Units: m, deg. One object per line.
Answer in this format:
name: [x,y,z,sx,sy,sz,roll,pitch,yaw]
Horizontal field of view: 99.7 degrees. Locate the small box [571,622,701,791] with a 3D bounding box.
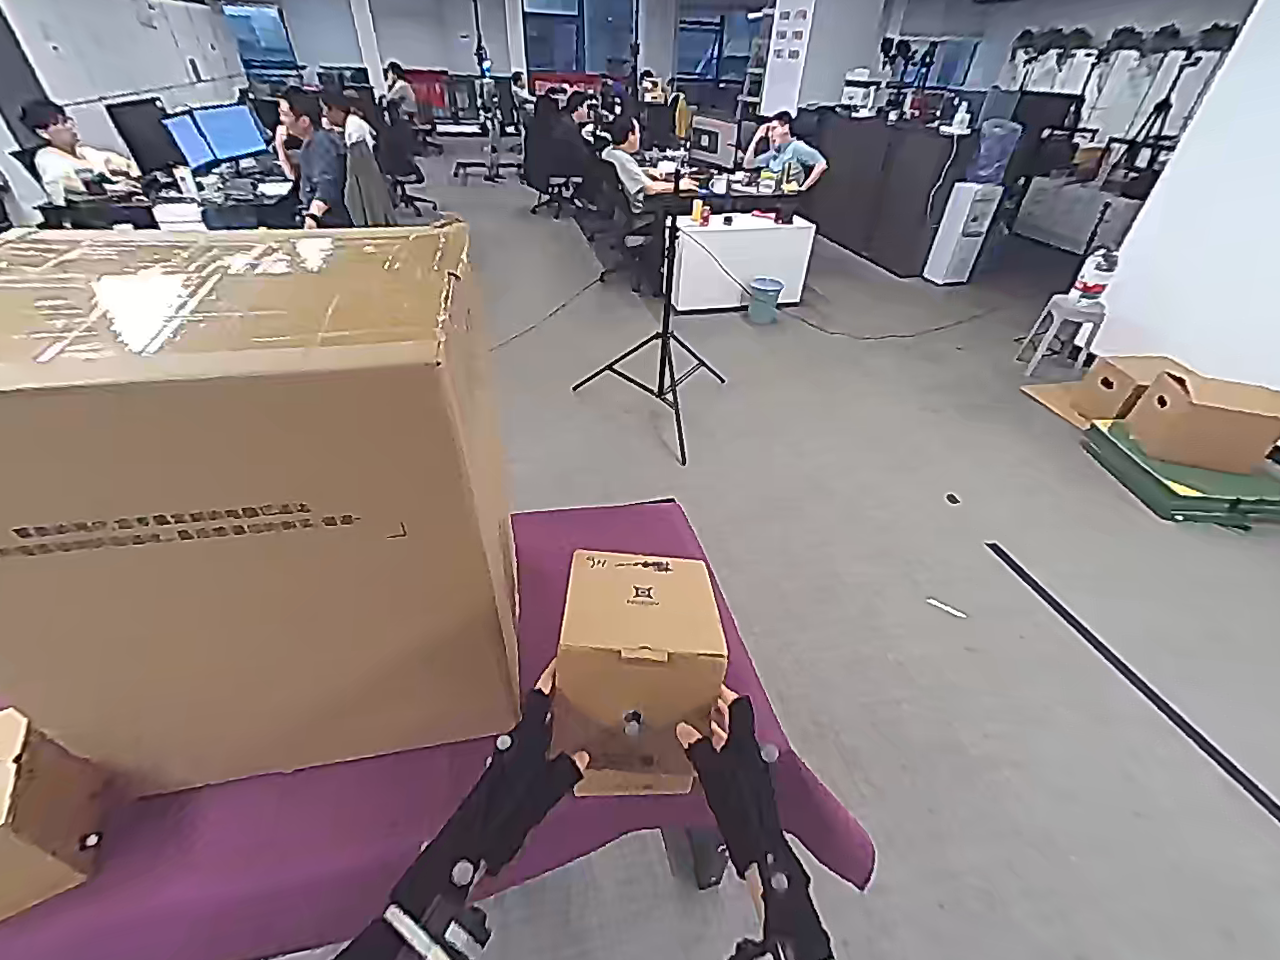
small box: [-0.008,0.328,0.782,0.168,0.176,0.179,0,37,-3]
